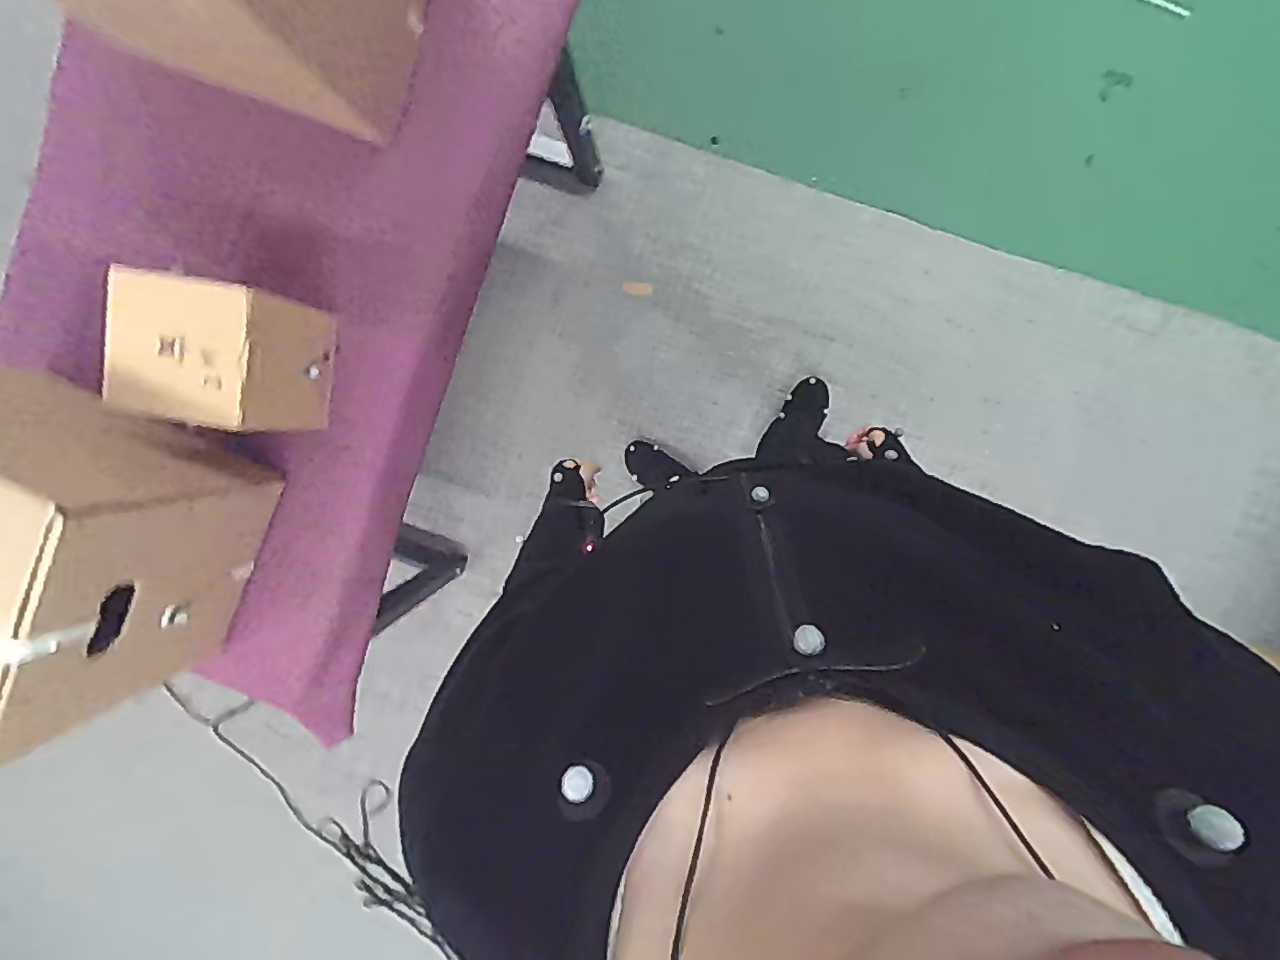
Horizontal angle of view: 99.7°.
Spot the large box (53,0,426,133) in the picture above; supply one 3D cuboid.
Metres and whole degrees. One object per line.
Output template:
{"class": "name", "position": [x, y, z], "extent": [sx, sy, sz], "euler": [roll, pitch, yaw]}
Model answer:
{"class": "large box", "position": [-0.494, -0.664, 0.589], "extent": [0.408, 0.320, 0.320], "euler": [19, 99, 0]}
